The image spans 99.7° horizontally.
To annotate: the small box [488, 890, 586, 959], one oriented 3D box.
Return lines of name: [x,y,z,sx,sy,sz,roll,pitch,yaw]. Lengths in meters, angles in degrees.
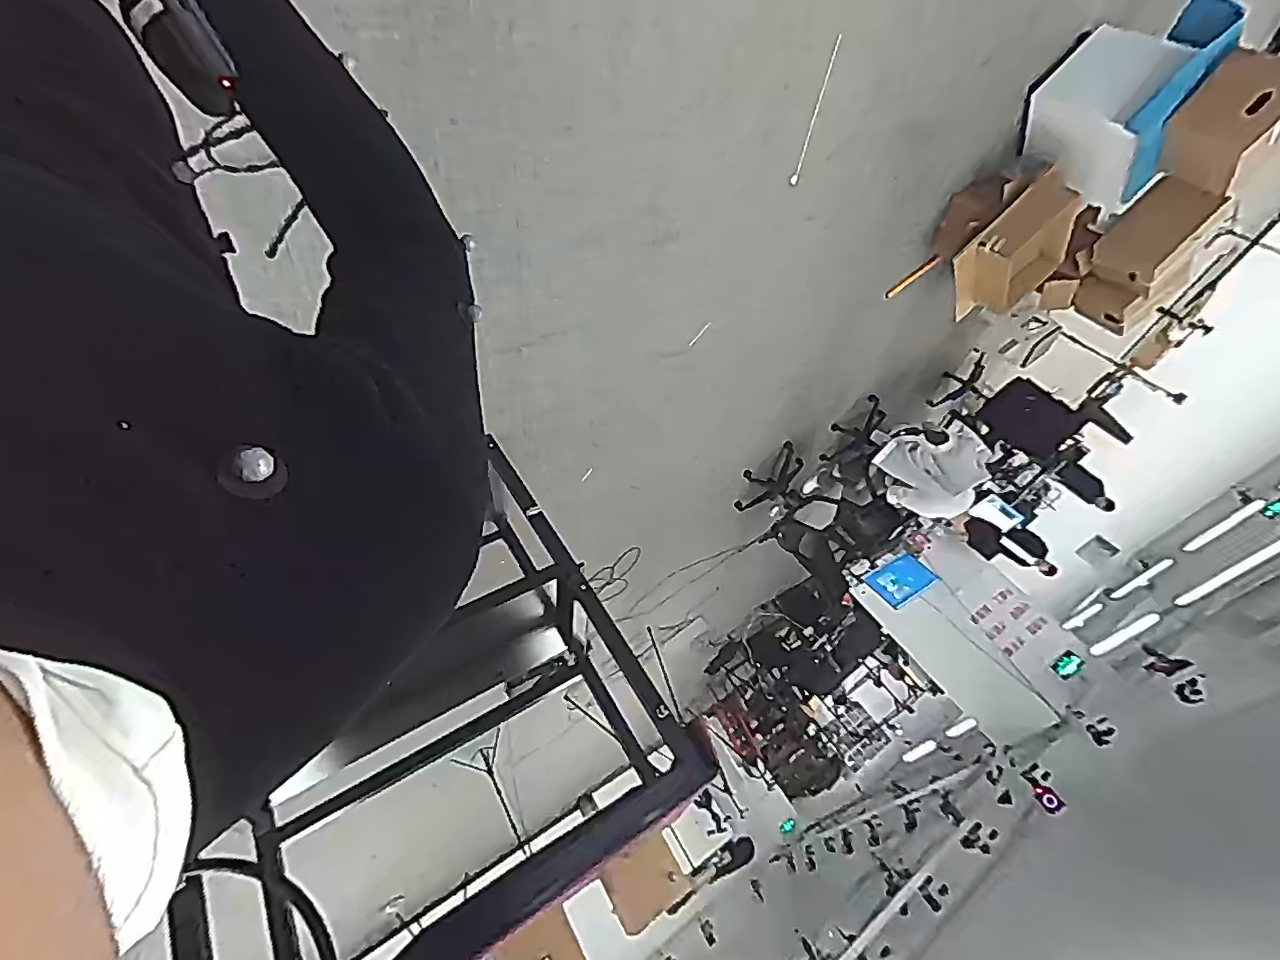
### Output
small box: [-0.247,1.114,1.268,0.179,0.176,0.168,-20,146,-30]
